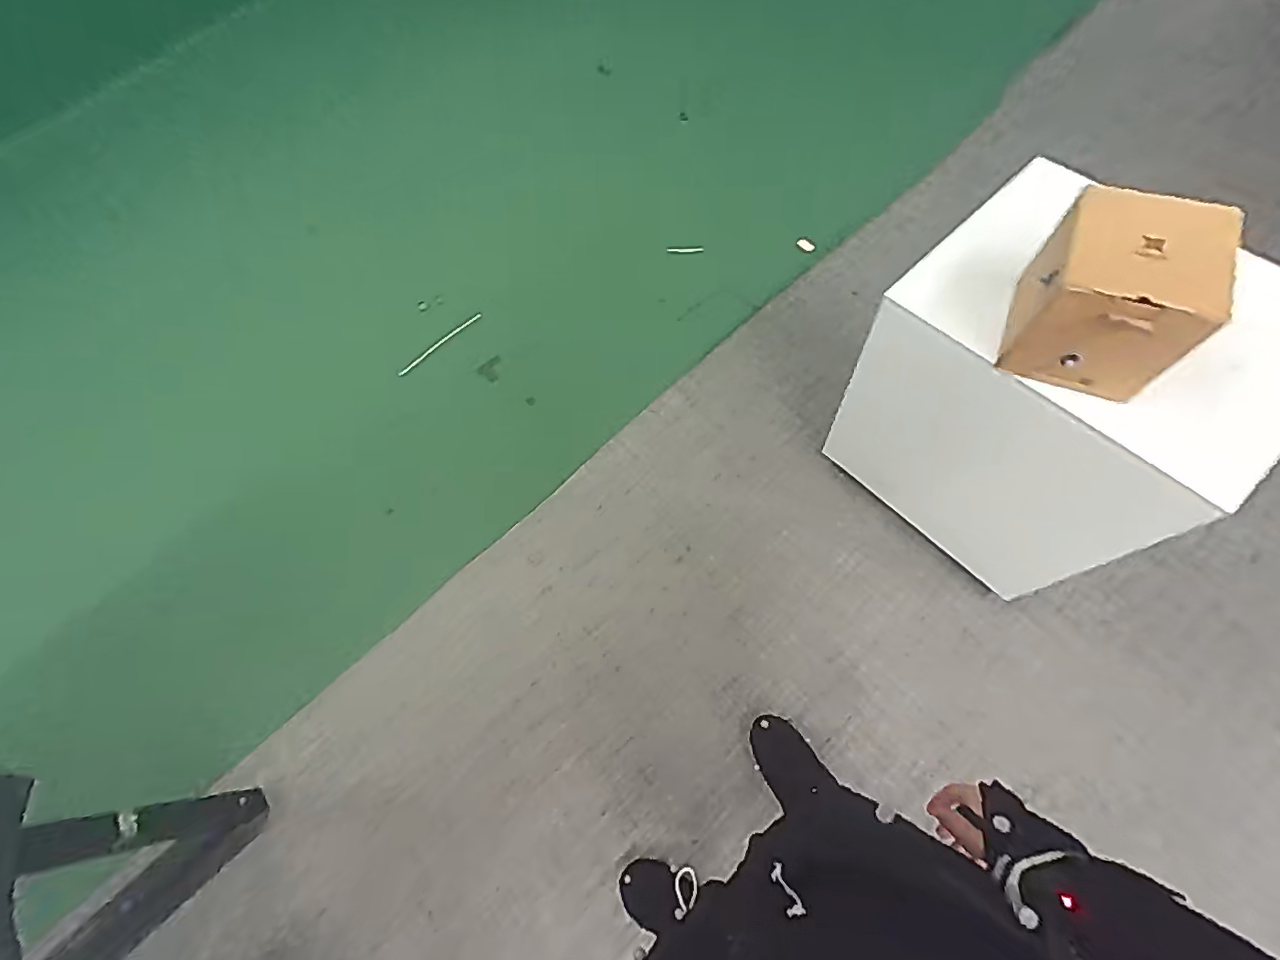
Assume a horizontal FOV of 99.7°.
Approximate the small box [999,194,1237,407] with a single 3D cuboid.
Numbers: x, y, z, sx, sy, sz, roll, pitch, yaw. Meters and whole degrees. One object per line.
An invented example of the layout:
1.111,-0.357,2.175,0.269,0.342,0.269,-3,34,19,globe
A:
0.605,-0.228,0.705,0.168,0.176,0.179,21,70,15,small box
